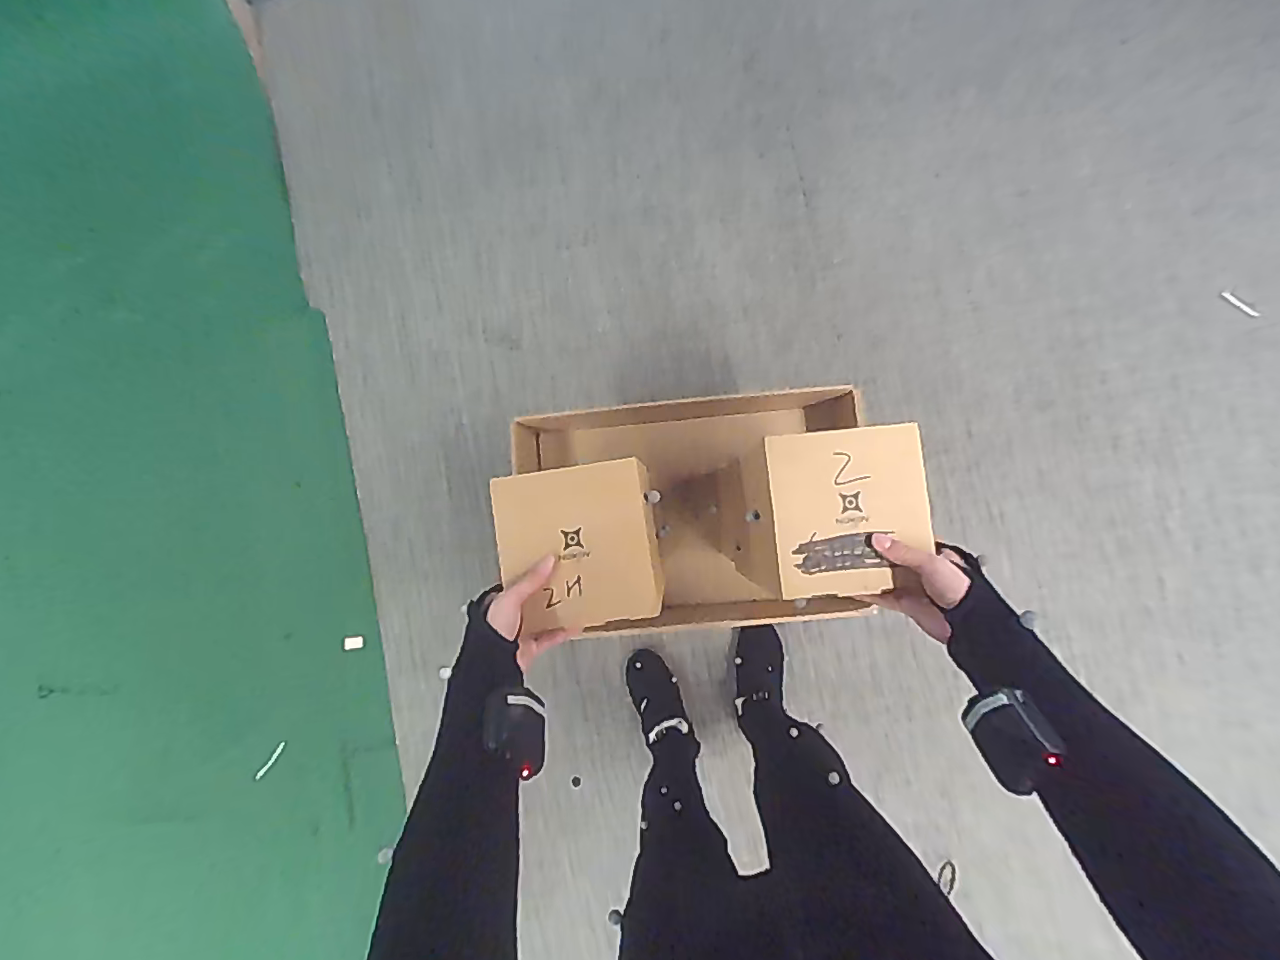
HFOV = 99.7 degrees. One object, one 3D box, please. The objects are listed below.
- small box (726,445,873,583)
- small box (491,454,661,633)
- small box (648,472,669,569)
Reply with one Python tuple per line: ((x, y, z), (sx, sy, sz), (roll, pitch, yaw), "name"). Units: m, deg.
((0.224, 0.050, 0.800), (0.168, 0.176, 0.179), (-5, 85, 2), "small box")
((-0.067, 0.072, 0.654), (0.168, 0.176, 0.179), (-8, 87, 4), "small box")
((-0.044, 0.082, 0.981), (0.179, 0.176, 0.168), (-8, 87, 2), "small box")
